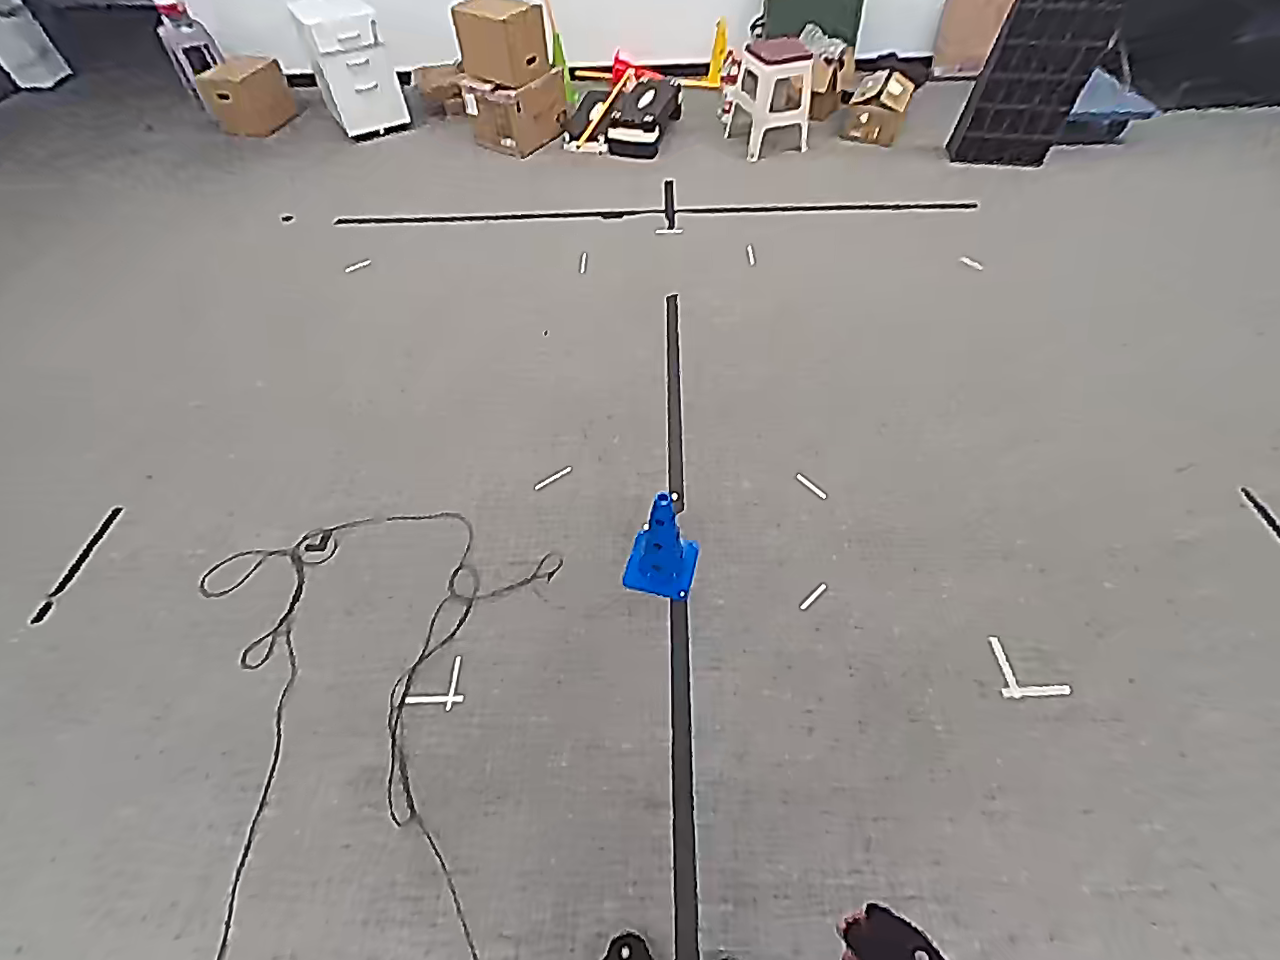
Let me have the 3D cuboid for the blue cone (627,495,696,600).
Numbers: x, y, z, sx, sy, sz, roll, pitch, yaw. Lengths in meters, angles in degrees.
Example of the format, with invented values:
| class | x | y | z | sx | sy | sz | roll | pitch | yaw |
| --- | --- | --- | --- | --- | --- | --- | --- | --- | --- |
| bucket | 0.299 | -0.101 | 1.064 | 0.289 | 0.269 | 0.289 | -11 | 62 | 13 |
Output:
| class | x | y | z | sx | sy | sz | roll | pitch | yaw |
| --- | --- | --- | --- | --- | --- | --- | --- | --- | --- |
| blue cone | 0.064 | 0.161 | 1.492 | 0.192 | 0.380 | 0.193 | 13 | 55 | 10 |
